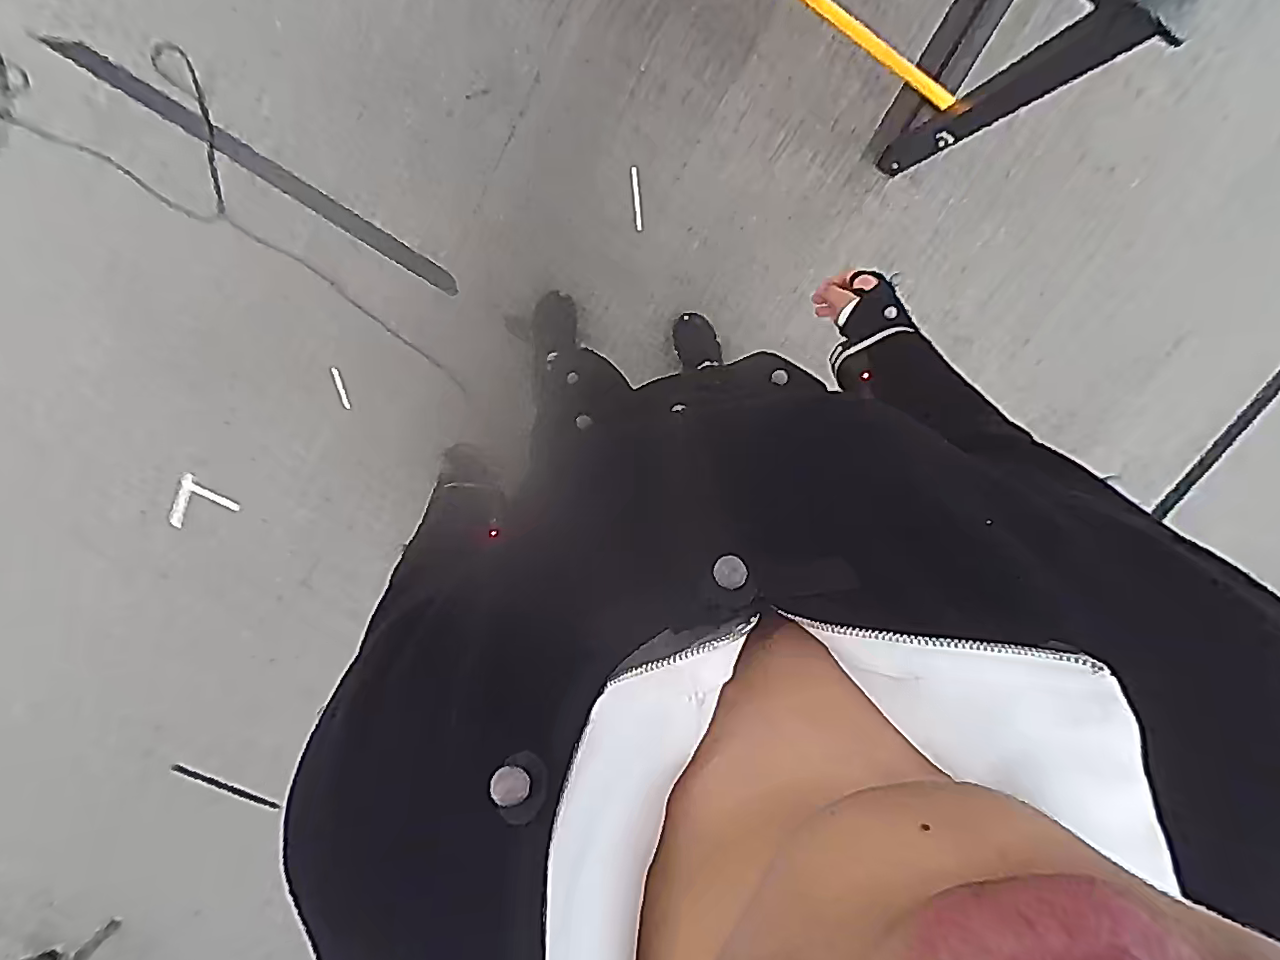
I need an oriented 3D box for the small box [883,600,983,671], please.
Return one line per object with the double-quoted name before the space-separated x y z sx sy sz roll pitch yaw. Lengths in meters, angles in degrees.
"small box" 0.861 0.481 1.598 0.179 0.176 0.168 27 105 -8
